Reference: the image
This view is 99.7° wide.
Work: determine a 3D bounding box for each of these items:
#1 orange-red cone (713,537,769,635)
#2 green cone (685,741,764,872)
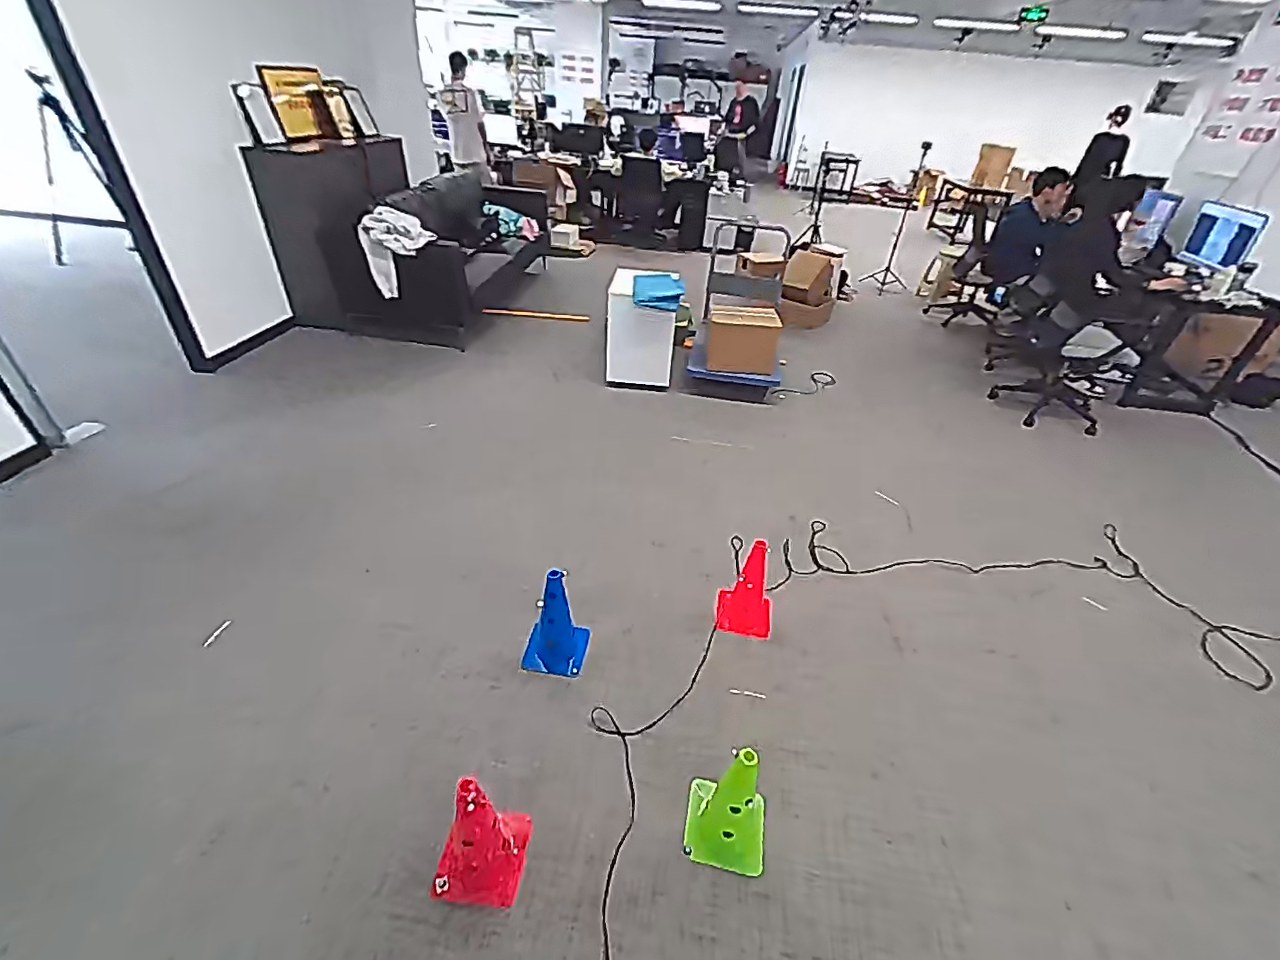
[{"bbox_3d":[0.384,0.345,1.901,0.198,0.360,0.199,10,37,9],"label":"orange-red cone"},{"bbox_3d":[0.235,0.754,1.312,0.200,0.368,0.202,9,35,6],"label":"green cone"}]
